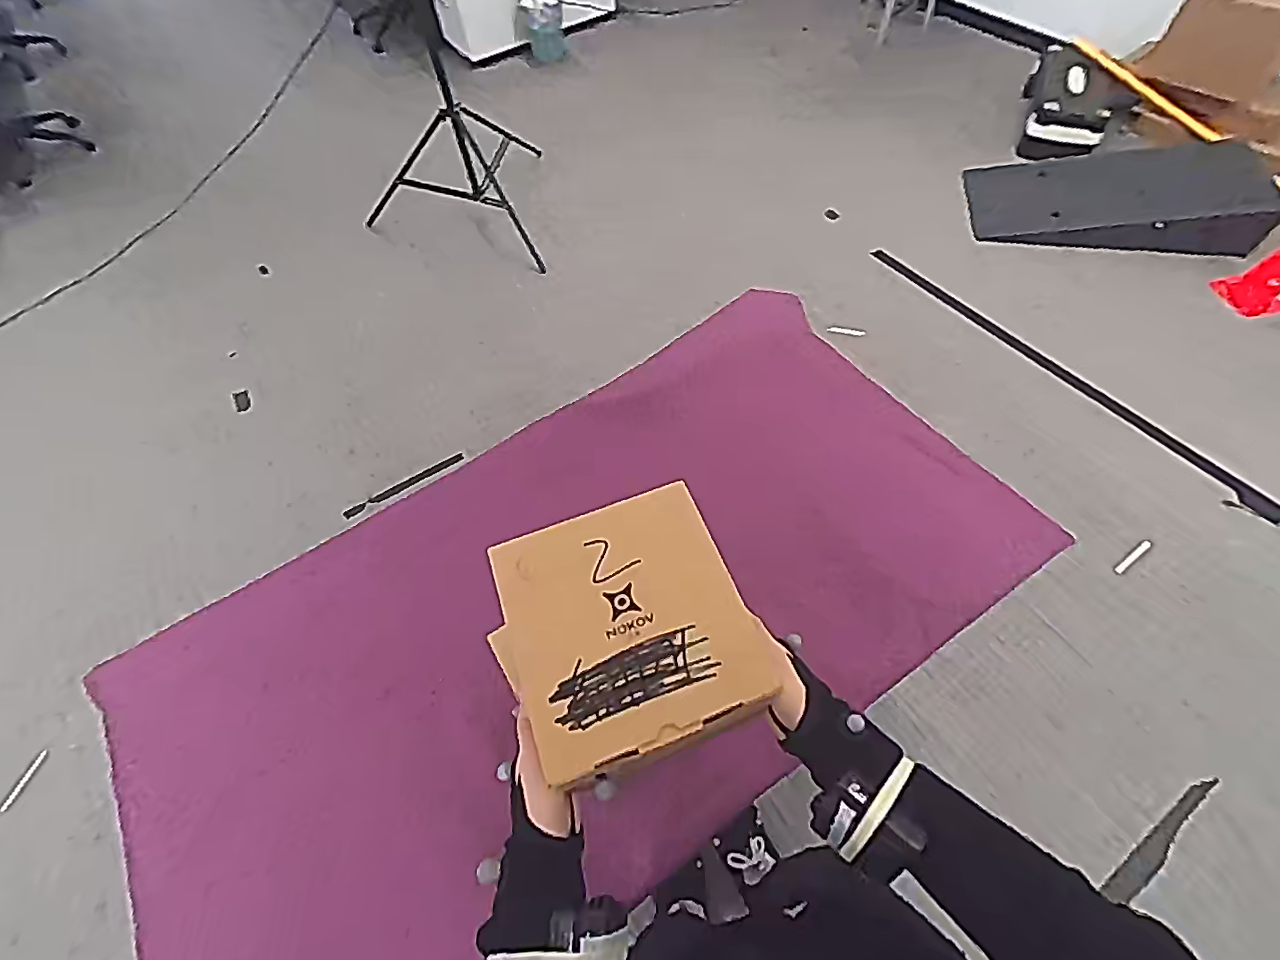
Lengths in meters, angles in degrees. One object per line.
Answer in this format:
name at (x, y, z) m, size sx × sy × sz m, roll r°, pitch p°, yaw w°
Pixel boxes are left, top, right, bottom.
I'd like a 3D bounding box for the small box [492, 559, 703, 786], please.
small box at (-0.045, 0.230, 0.631) m, size 0.168 × 0.176 × 0.179 m, roll -30°, pitch 62°, yaw -13°
